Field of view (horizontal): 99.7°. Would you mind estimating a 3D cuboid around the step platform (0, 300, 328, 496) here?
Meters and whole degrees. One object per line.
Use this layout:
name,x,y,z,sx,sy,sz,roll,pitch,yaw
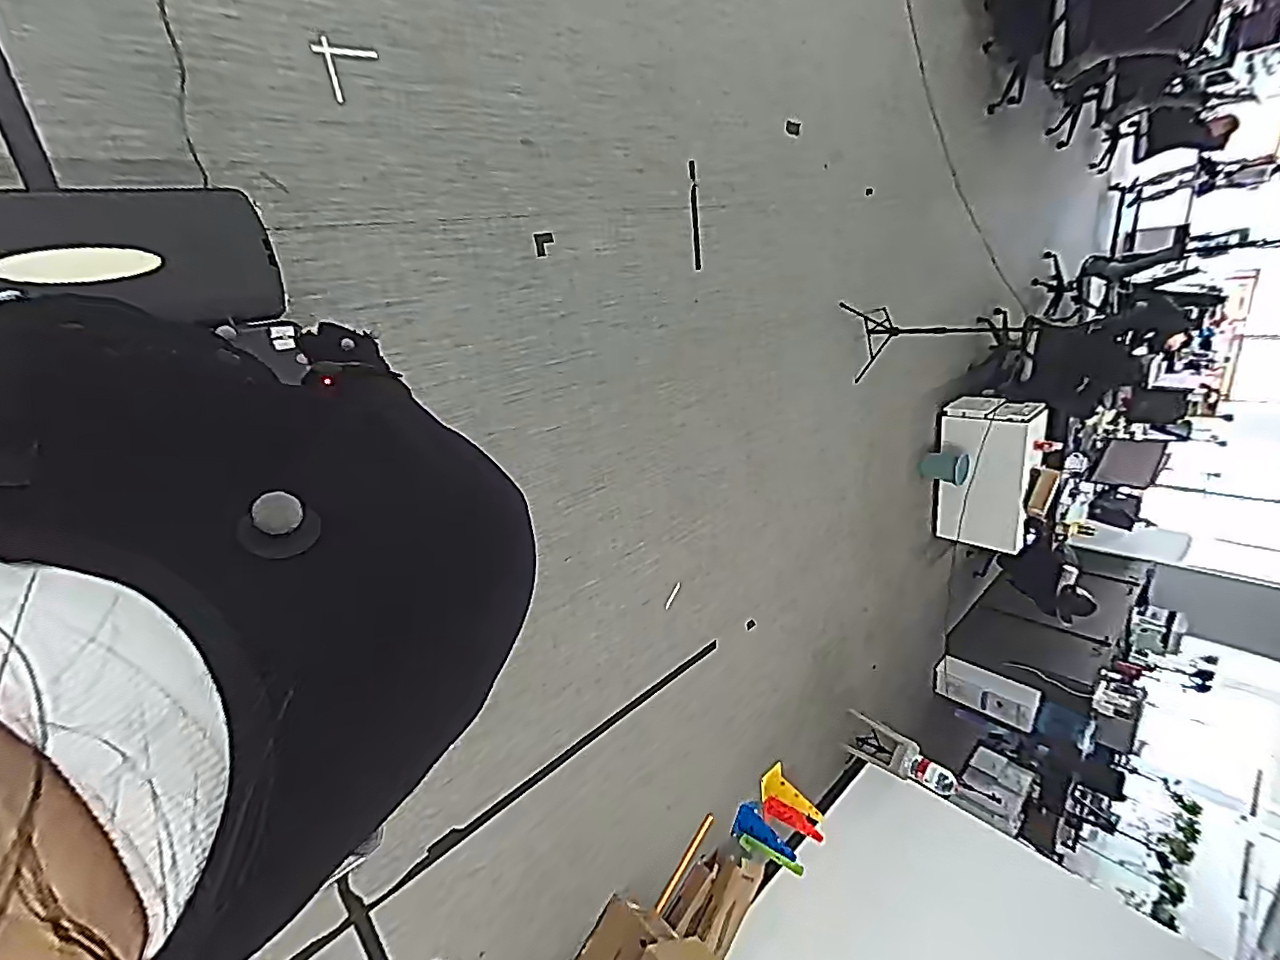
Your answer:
step platform,-1.057,-0.190,1.142,0.684,0.204,0.286,-24,114,-34
